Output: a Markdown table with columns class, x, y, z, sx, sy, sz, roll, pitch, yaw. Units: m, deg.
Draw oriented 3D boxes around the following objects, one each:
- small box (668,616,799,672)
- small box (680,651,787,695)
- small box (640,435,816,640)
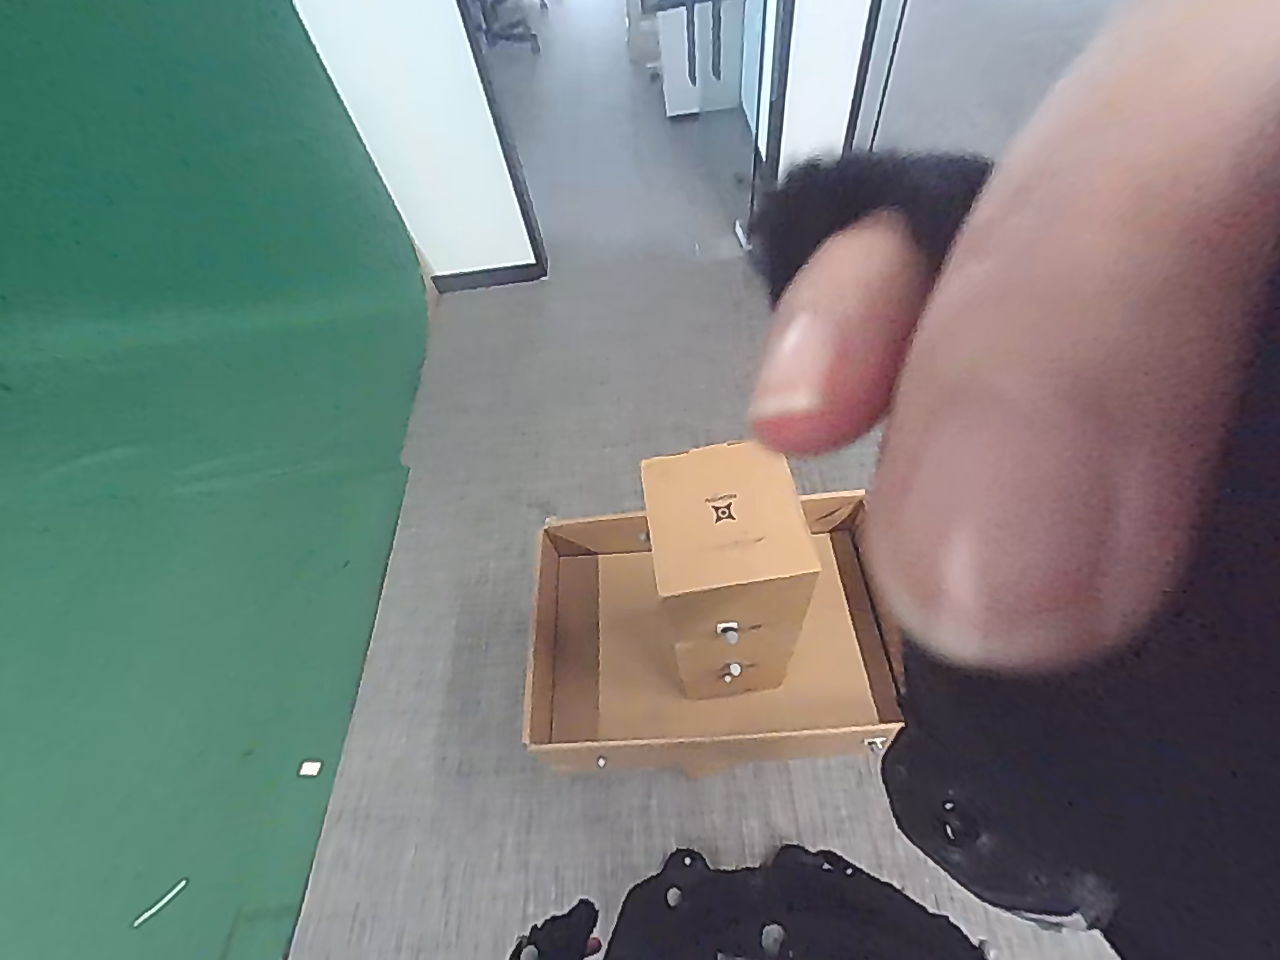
| class | x | y | z | sx | sy | sz | roll | pitch | yaw |
| --- | --- | --- | --- | --- | --- | --- | --- | --- | --- |
| small box | 0.120 | 0.163 | 0.789 | 0.168 | 0.176 | 0.179 | -10 | 56 | 3 |
| small box | 0.144 | 0.248 | 0.927 | 0.168 | 0.176 | 0.179 | -11 | 55 | 4 |
| small box | 0.098 | 0.074 | 0.656 | 0.168 | 0.176 | 0.179 | -11 | 56 | 4 |
